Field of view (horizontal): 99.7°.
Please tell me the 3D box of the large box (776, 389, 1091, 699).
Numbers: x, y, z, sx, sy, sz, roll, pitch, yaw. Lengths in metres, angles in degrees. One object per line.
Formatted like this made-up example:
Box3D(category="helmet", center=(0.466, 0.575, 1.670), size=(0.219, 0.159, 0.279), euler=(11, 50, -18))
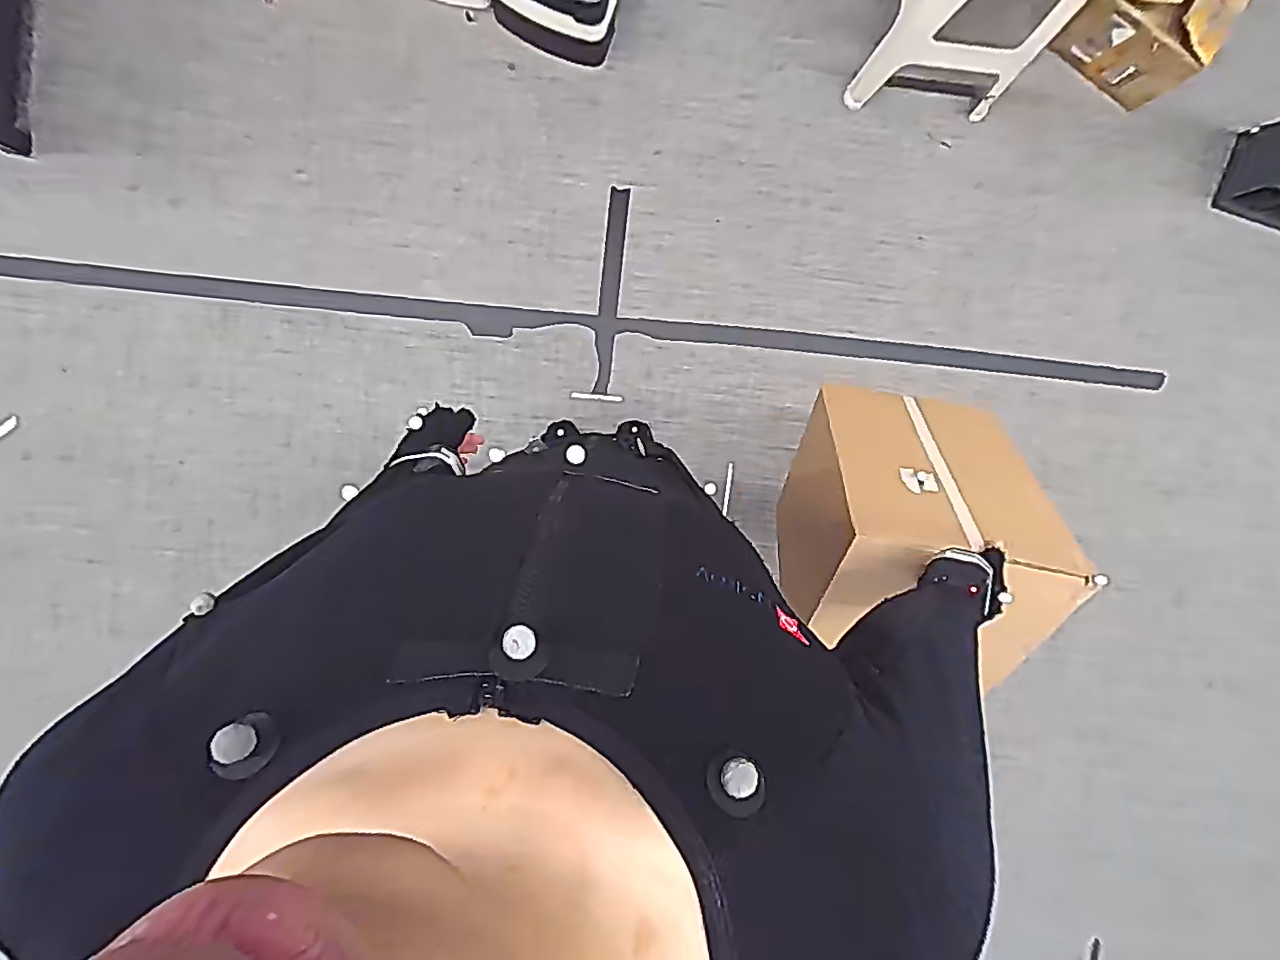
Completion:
Box3D(category="large box", center=(0.442, 0.097, 0.947), size=(0.320, 0.408, 0.320), euler=(11, 130, 2))
